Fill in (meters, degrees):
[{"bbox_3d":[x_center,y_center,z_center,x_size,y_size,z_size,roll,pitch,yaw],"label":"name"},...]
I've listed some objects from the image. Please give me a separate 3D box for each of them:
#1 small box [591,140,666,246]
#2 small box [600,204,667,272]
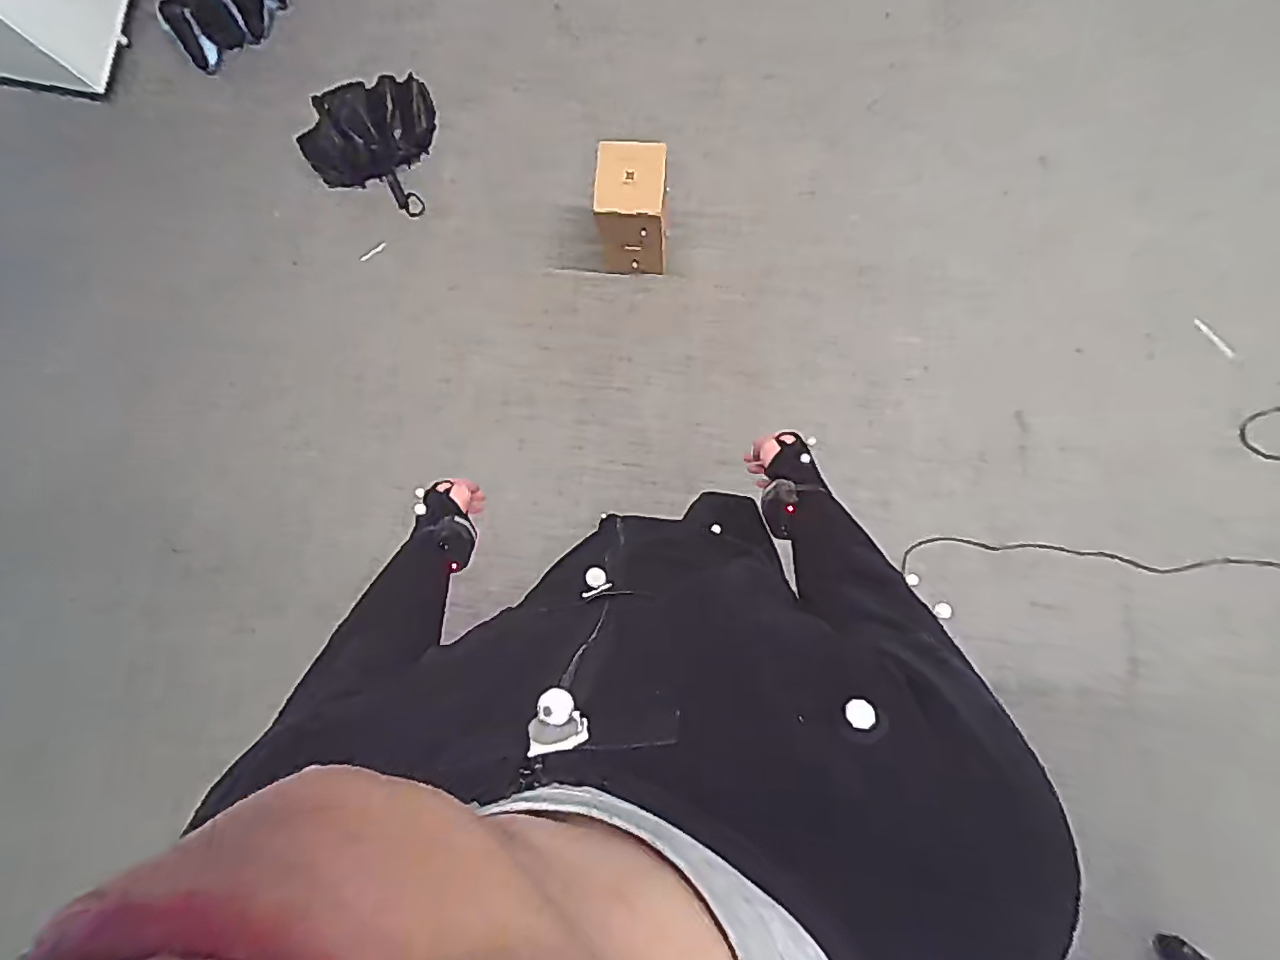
[{"bbox_3d":[-0.023,-0.708,1.350,0.168,0.176,0.179,4,86,3],"label":"small box"},{"bbox_3d":[-0.013,-0.698,1.512,0.168,0.176,0.179,3,87,4],"label":"small box"}]
